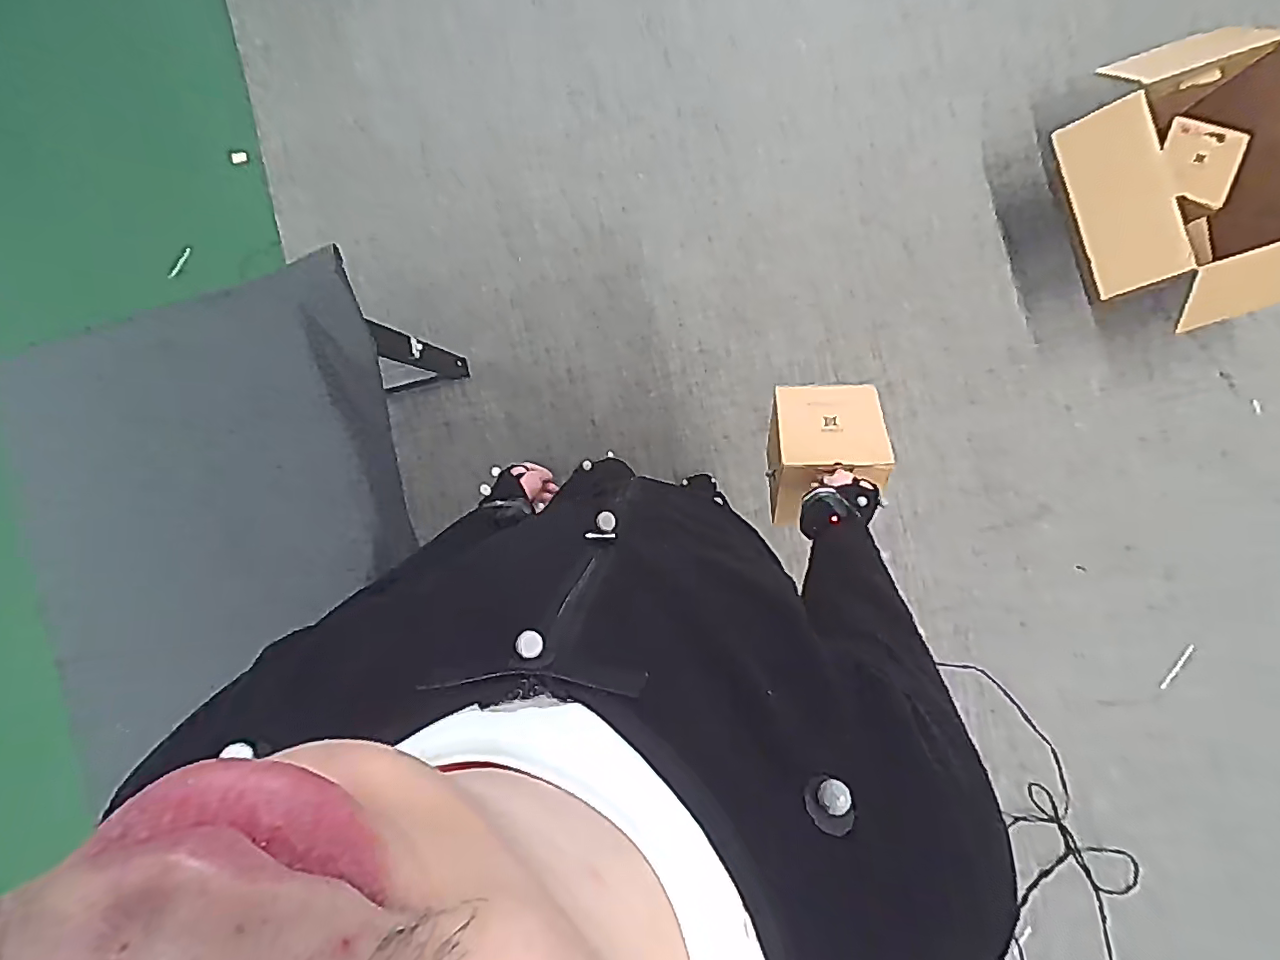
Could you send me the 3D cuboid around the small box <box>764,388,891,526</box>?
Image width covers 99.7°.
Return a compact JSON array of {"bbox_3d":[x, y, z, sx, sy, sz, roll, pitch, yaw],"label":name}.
[{"bbox_3d":[0.307,-0.036,0.925,0.168,0.176,0.179,0,49,6],"label":"small box"}]
